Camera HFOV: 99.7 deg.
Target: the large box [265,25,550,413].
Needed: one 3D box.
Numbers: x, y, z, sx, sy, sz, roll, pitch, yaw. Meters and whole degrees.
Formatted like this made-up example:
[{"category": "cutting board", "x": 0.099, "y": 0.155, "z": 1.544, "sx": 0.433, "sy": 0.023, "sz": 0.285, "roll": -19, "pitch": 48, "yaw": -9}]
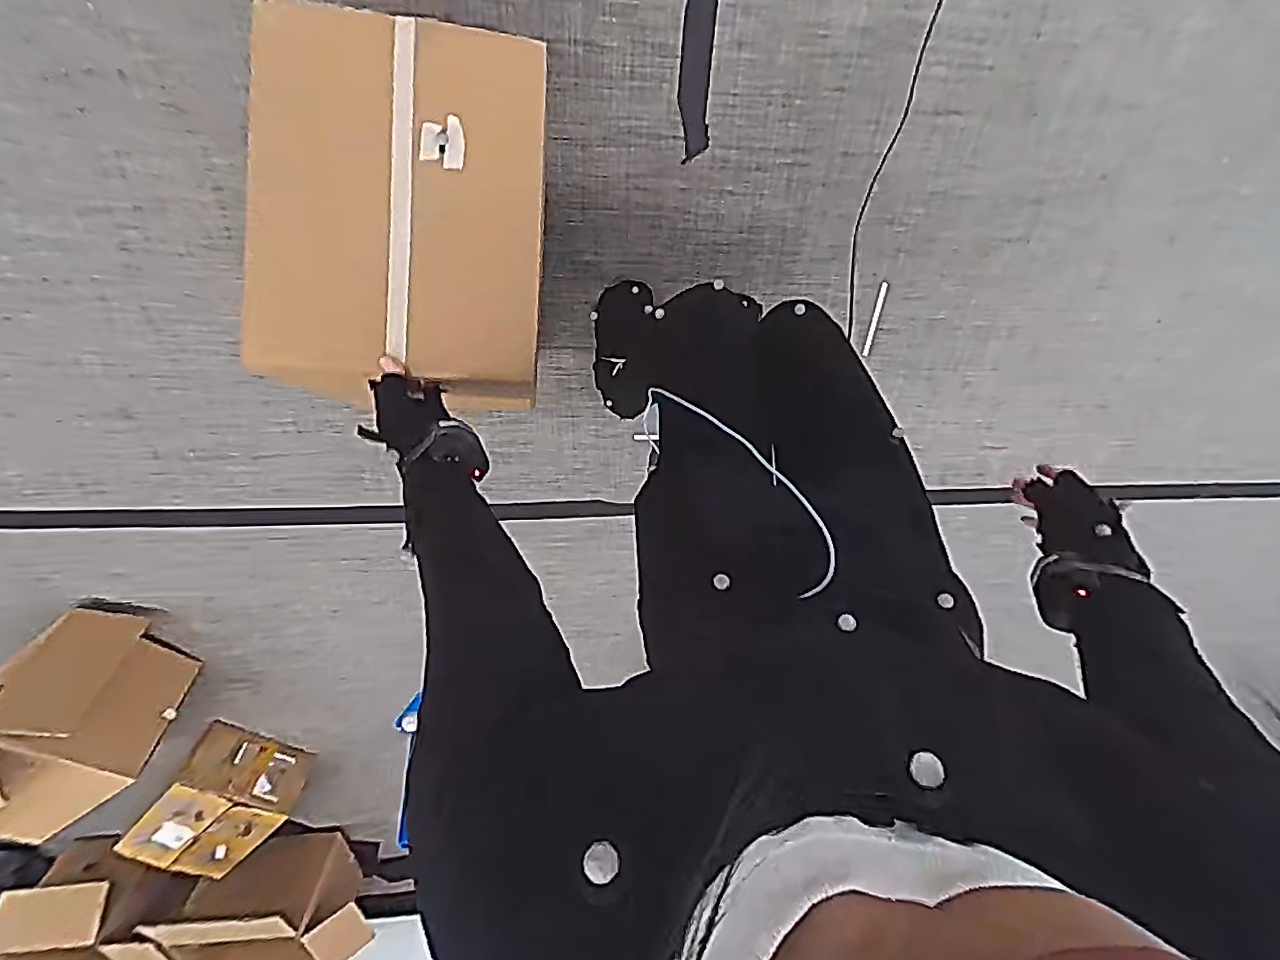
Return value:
[{"category": "large box", "x": -0.292, "y": -0.315, "z": 0.781, "sx": 0.320, "sy": 0.320, "sz": 0.408, "roll": 2, "pitch": 90, "yaw": -10}]
